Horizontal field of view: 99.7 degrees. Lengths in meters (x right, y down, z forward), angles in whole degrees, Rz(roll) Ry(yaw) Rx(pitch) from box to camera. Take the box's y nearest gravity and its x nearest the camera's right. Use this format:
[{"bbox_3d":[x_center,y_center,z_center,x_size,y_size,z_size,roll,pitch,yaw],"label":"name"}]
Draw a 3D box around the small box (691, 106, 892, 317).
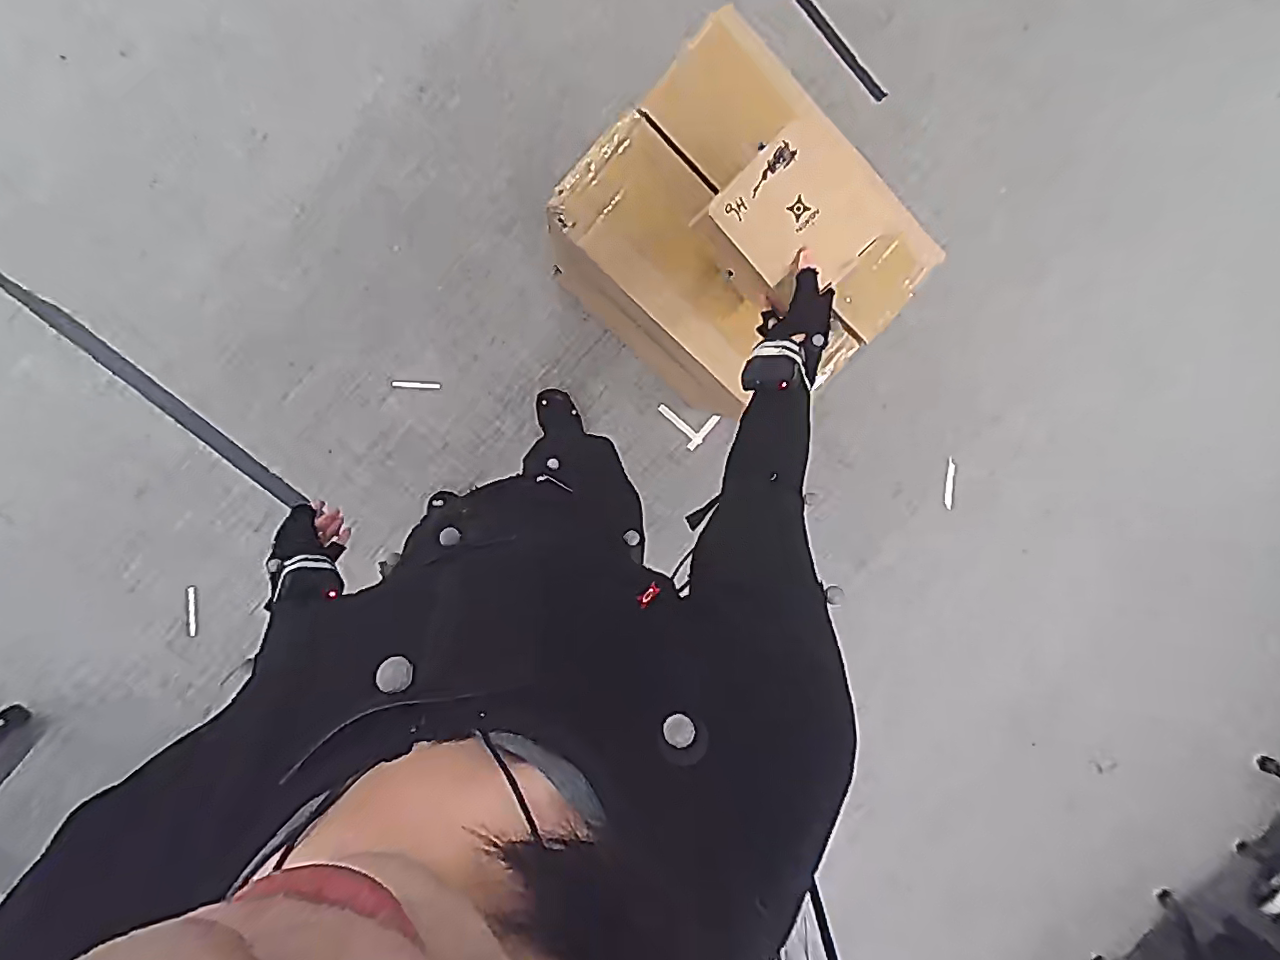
[{"bbox_3d":[0.191,-0.344,0.731,0.168,0.176,0.179,-44,104,9],"label":"small box"}]
